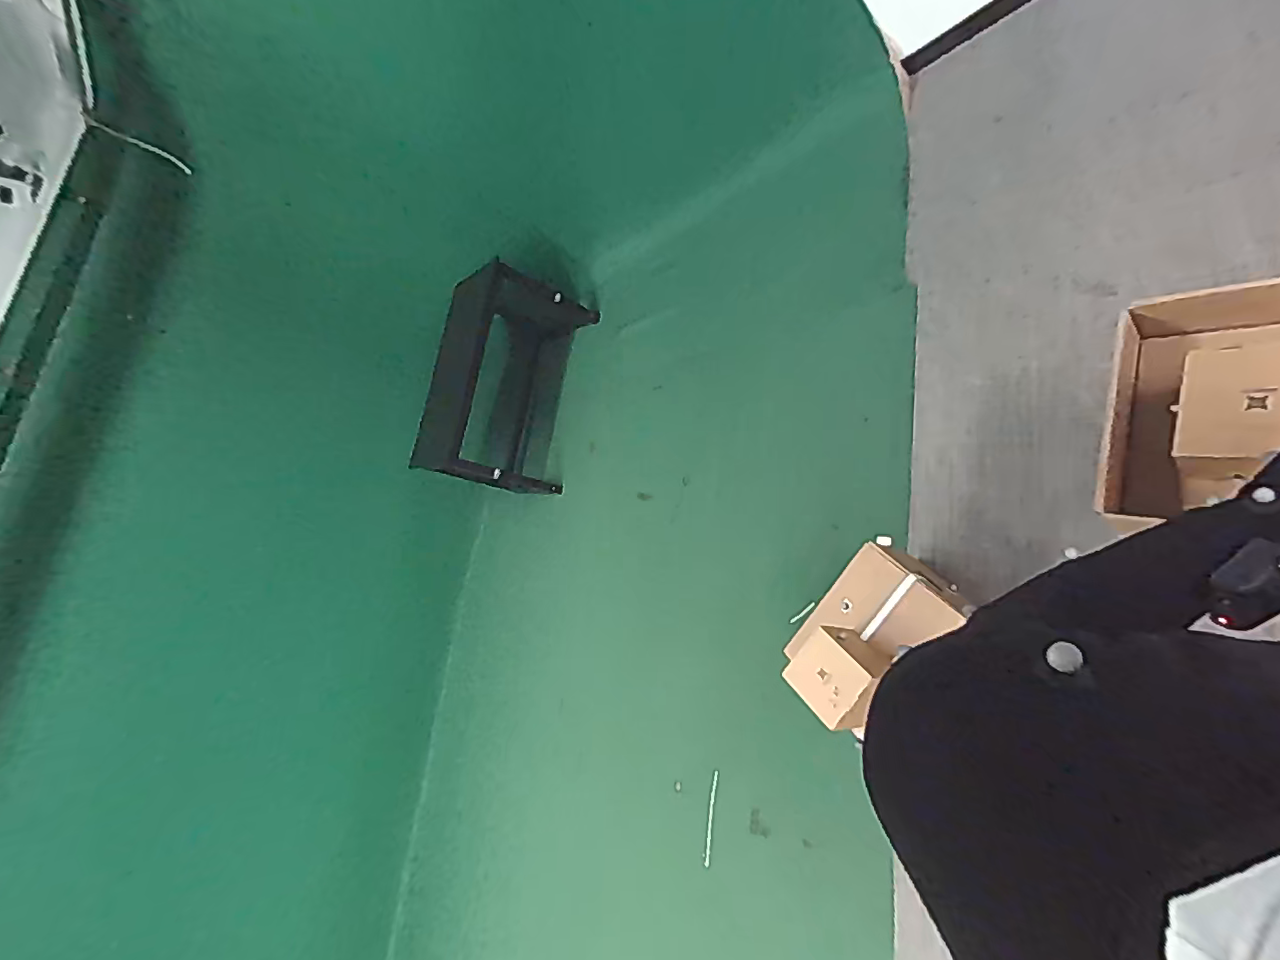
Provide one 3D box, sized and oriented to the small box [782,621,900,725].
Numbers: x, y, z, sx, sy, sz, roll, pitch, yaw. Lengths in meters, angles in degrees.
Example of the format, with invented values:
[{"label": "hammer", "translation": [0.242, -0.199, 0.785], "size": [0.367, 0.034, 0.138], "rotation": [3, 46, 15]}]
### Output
[{"label": "small box", "translation": [0.491, 0.471, 1.322], "size": [0.168, 0.176, 0.179], "rotation": [-60, 42, 15]}]
